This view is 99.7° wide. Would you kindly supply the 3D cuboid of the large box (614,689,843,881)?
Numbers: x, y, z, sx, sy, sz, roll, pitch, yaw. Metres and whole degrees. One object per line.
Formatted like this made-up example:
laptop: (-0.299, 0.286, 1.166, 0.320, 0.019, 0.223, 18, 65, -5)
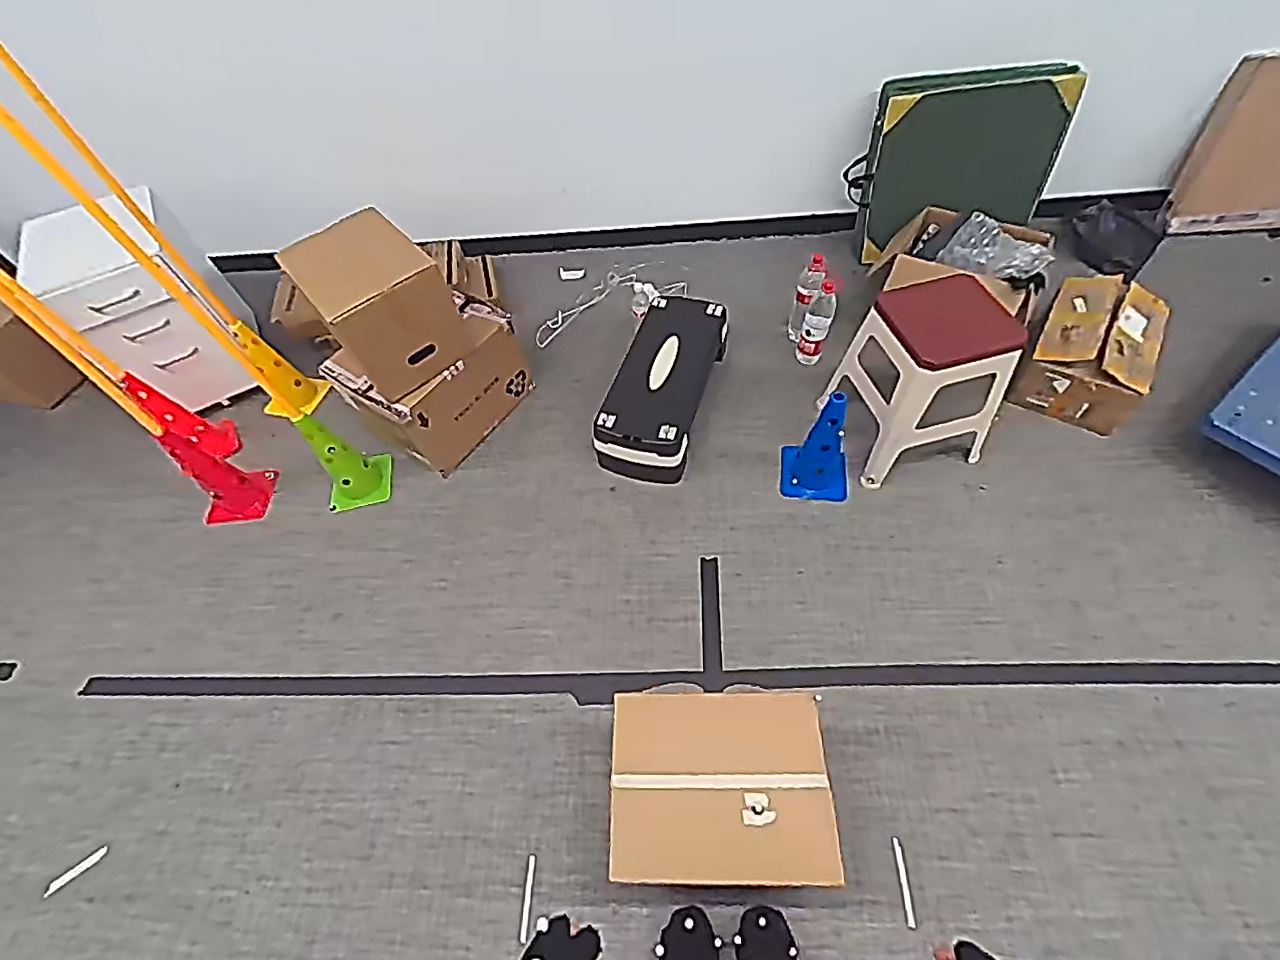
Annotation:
large box: (0.157, 0.640, 1.137, 0.408, 0.320, 0.320, -2, 57, 3)
